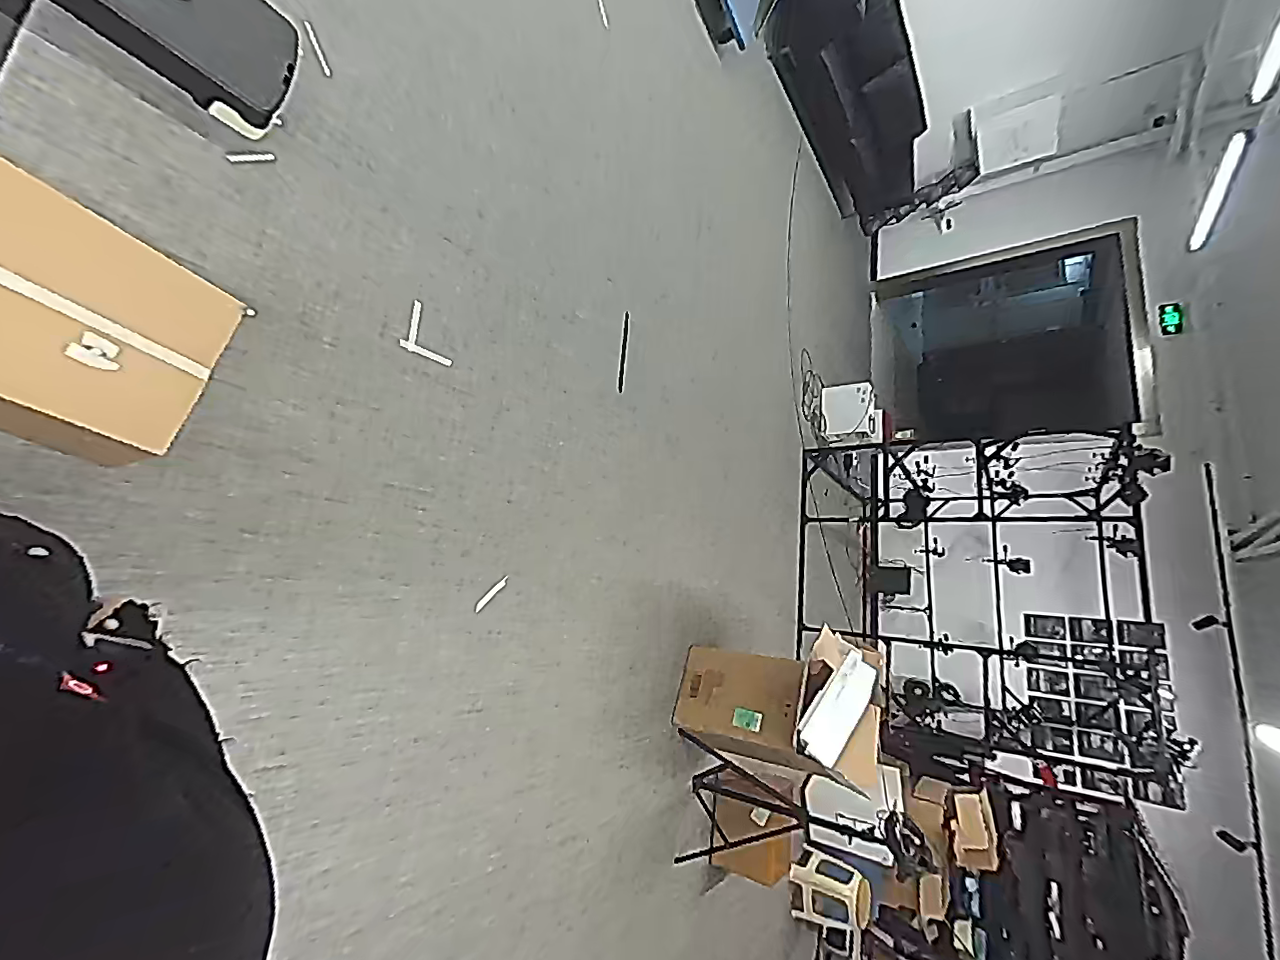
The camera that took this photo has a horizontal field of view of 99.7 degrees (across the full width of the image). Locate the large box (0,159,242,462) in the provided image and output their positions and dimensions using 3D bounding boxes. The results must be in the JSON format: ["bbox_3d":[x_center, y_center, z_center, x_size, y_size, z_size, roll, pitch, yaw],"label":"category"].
[{"bbox_3d":[-0.985,-0.255,0.871,0.408,0.320,0.320,38,58,-49],"label":"large box"}]
